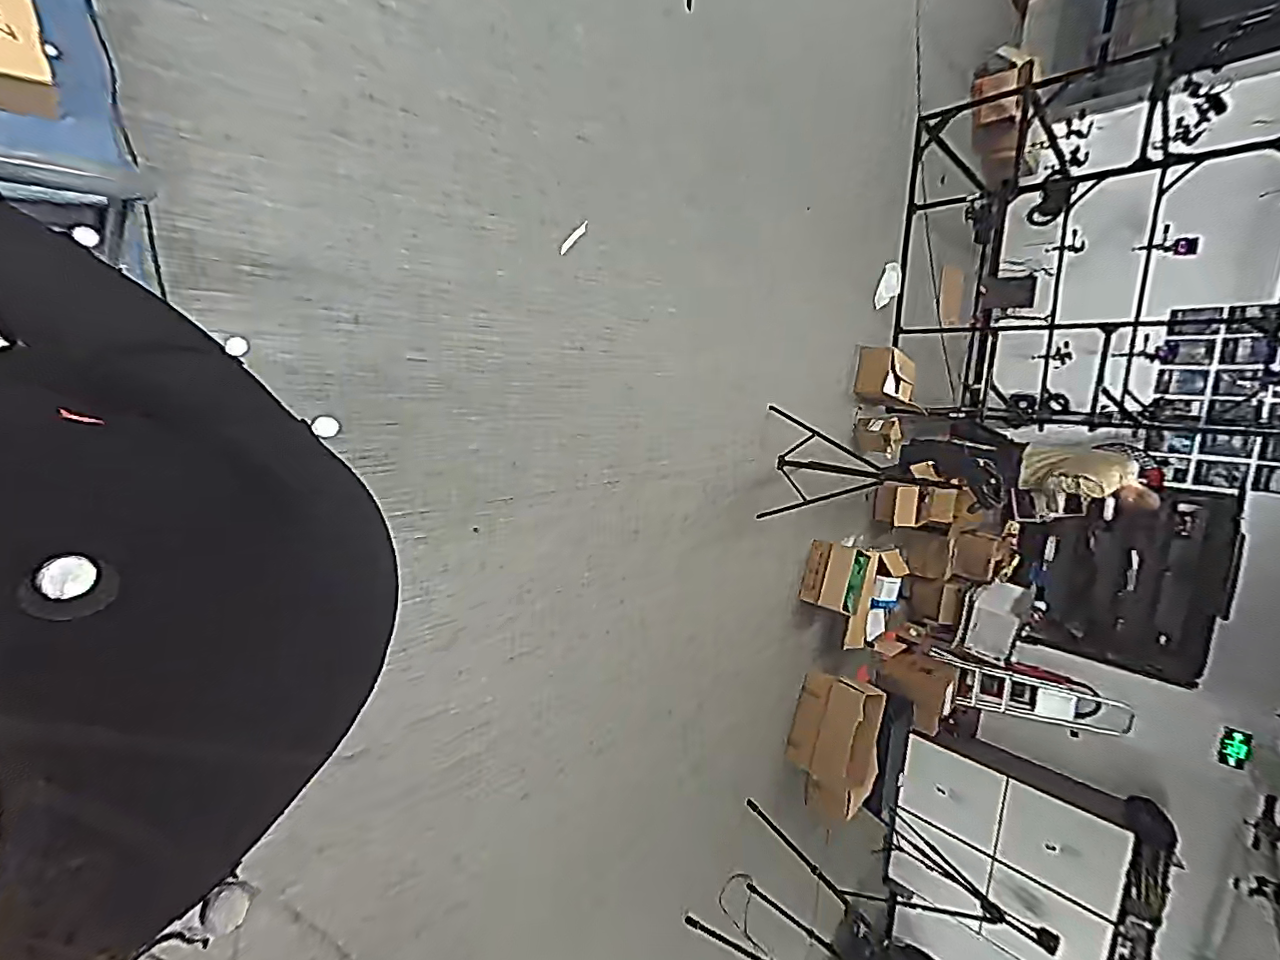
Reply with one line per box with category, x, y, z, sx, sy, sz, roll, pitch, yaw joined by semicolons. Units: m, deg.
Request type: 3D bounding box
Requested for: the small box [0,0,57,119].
small box;-0.939;-0.619;0.731;0.179;0.176;0.168;-17;111;-43
